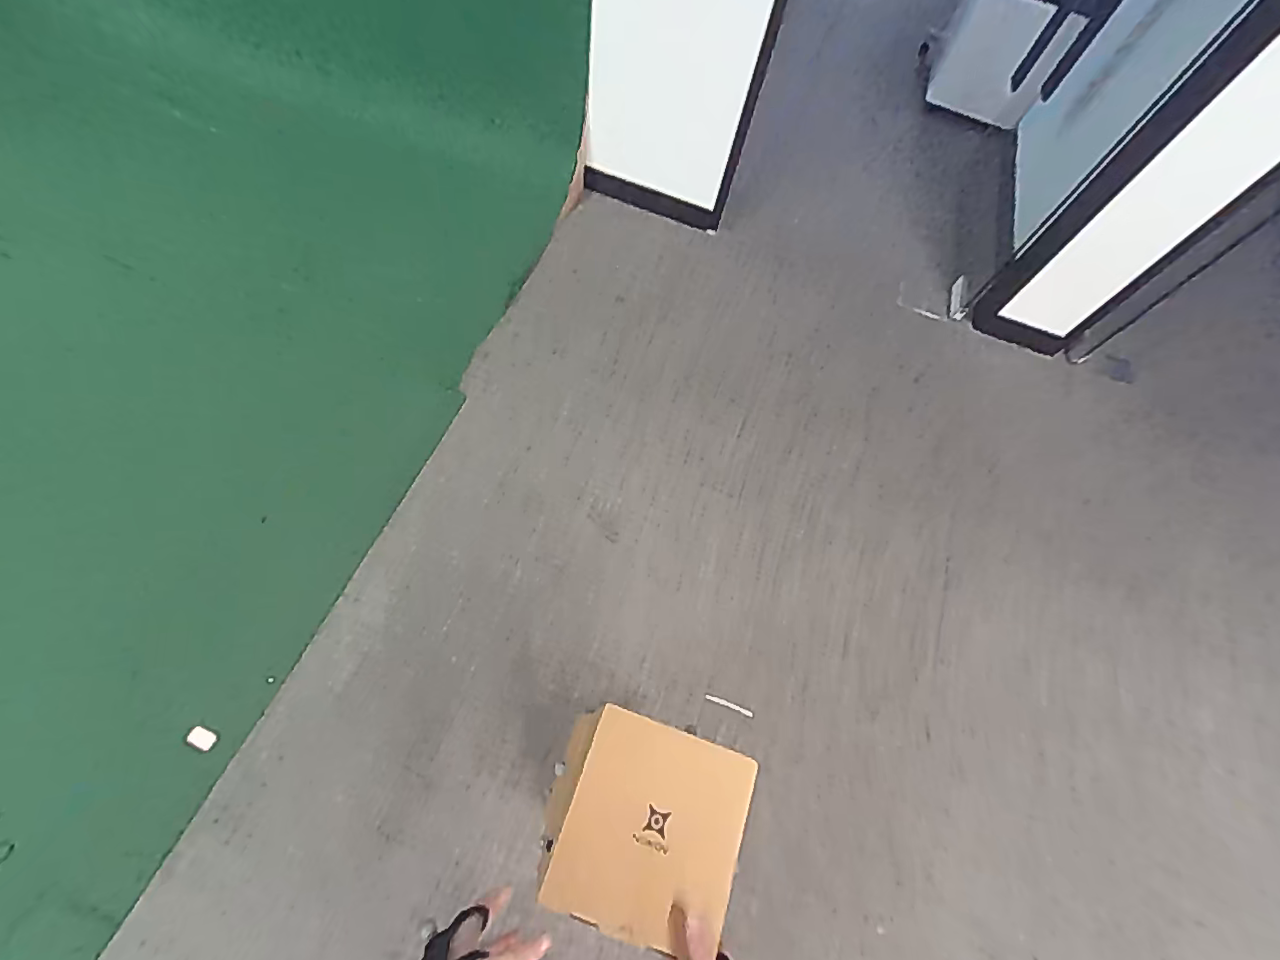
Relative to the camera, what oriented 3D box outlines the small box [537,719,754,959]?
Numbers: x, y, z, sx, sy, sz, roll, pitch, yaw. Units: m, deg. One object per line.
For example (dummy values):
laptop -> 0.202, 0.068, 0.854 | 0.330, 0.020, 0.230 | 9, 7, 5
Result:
small box -> 0.000, 0.375, 0.575 | 0.168, 0.176, 0.179 | 21, 63, 2
